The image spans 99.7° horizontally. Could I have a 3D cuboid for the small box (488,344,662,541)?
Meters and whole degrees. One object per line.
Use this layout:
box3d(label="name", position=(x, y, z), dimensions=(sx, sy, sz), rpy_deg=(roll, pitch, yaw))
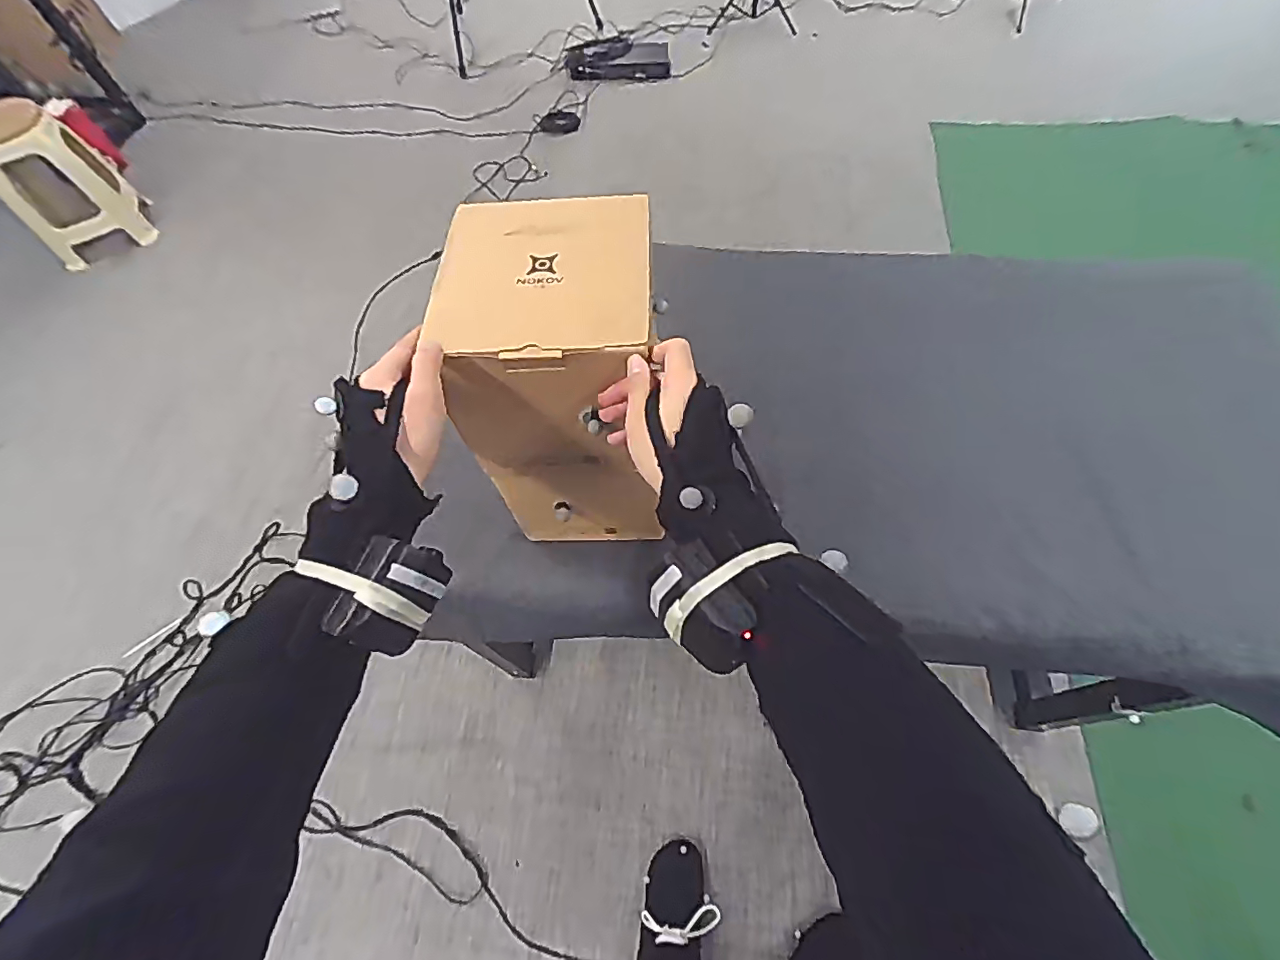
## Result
box3d(label="small box", position=(-0.059, -0.037, 0.625), dimensions=(0.168, 0.176, 0.179), rpy_deg=(-1, 59, 3))

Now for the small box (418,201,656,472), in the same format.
box3d(label="small box", position=(-0.070, -0.118, 0.484), dimensions=(0.168, 0.176, 0.179), rpy_deg=(-1, 58, 2))
